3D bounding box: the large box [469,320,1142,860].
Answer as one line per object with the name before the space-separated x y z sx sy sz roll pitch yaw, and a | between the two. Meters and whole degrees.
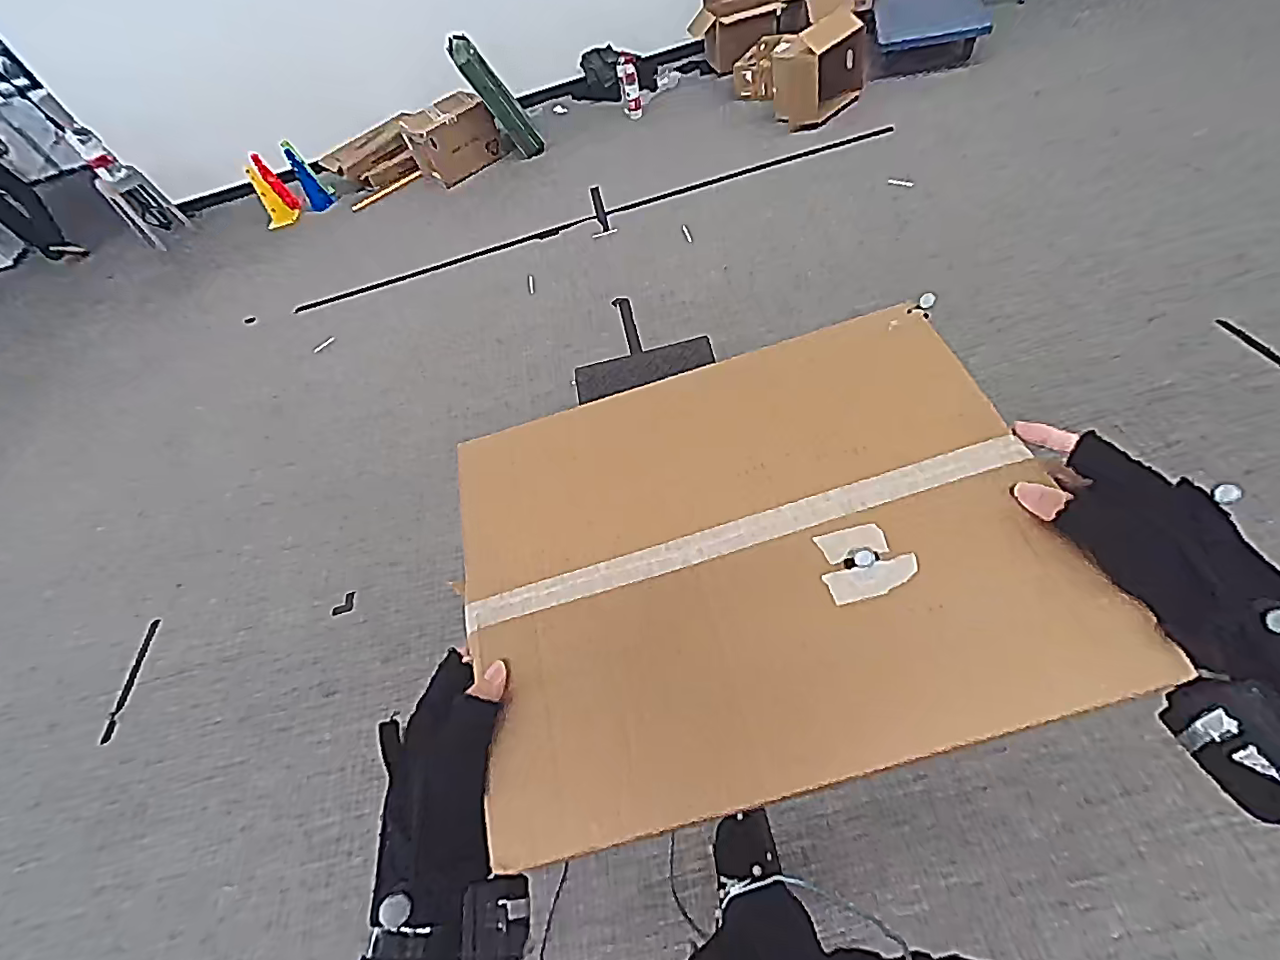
large box | 0.098 0.117 0.525 0.408 0.320 0.320 -18 59 2
